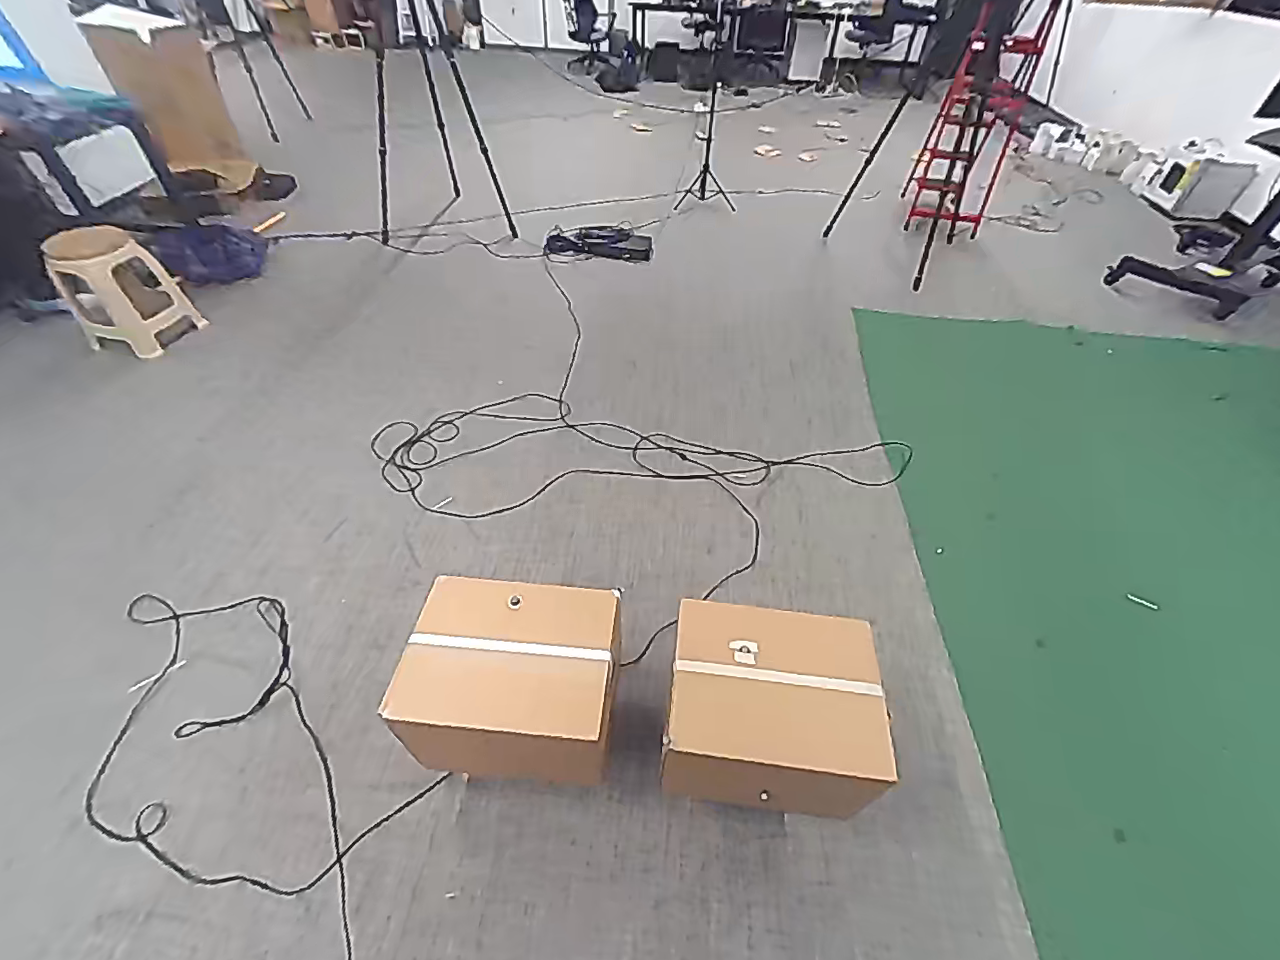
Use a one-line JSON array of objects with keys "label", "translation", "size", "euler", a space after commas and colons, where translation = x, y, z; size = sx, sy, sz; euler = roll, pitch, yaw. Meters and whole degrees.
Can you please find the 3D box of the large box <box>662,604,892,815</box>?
[{"label": "large box", "translation": [0.267, 0.501, 1.175], "size": [0.408, 0.320, 0.320], "euler": [6, 47, 5]}]
